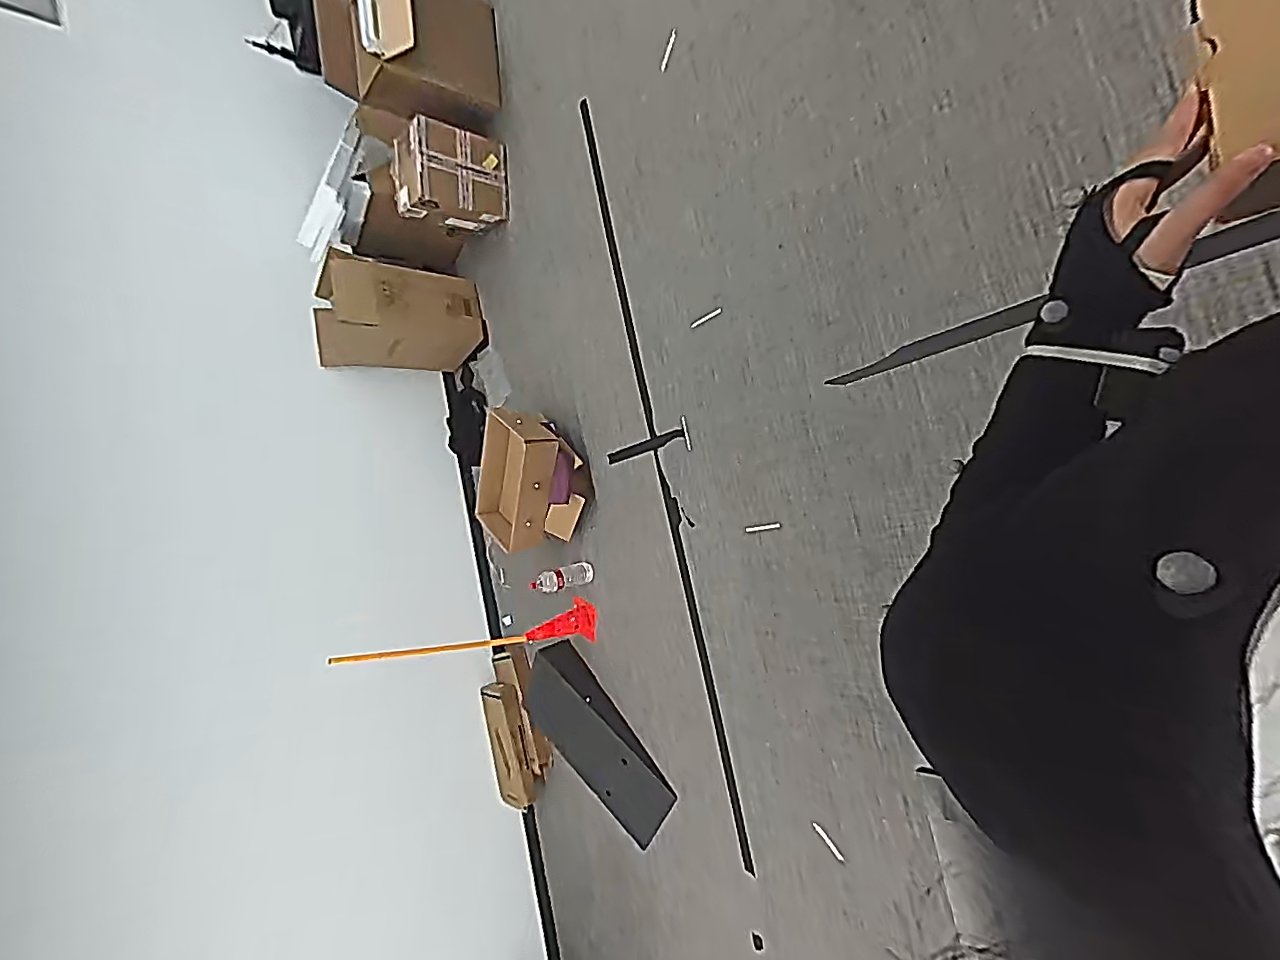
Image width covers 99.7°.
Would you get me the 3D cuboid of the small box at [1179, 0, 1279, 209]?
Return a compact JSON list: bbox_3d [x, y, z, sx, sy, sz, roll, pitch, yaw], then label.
[{"bbox_3d":[0.472,-0.298,0.339,0.179,0.176,0.168,-8,92,48],"label":"small box"}]
